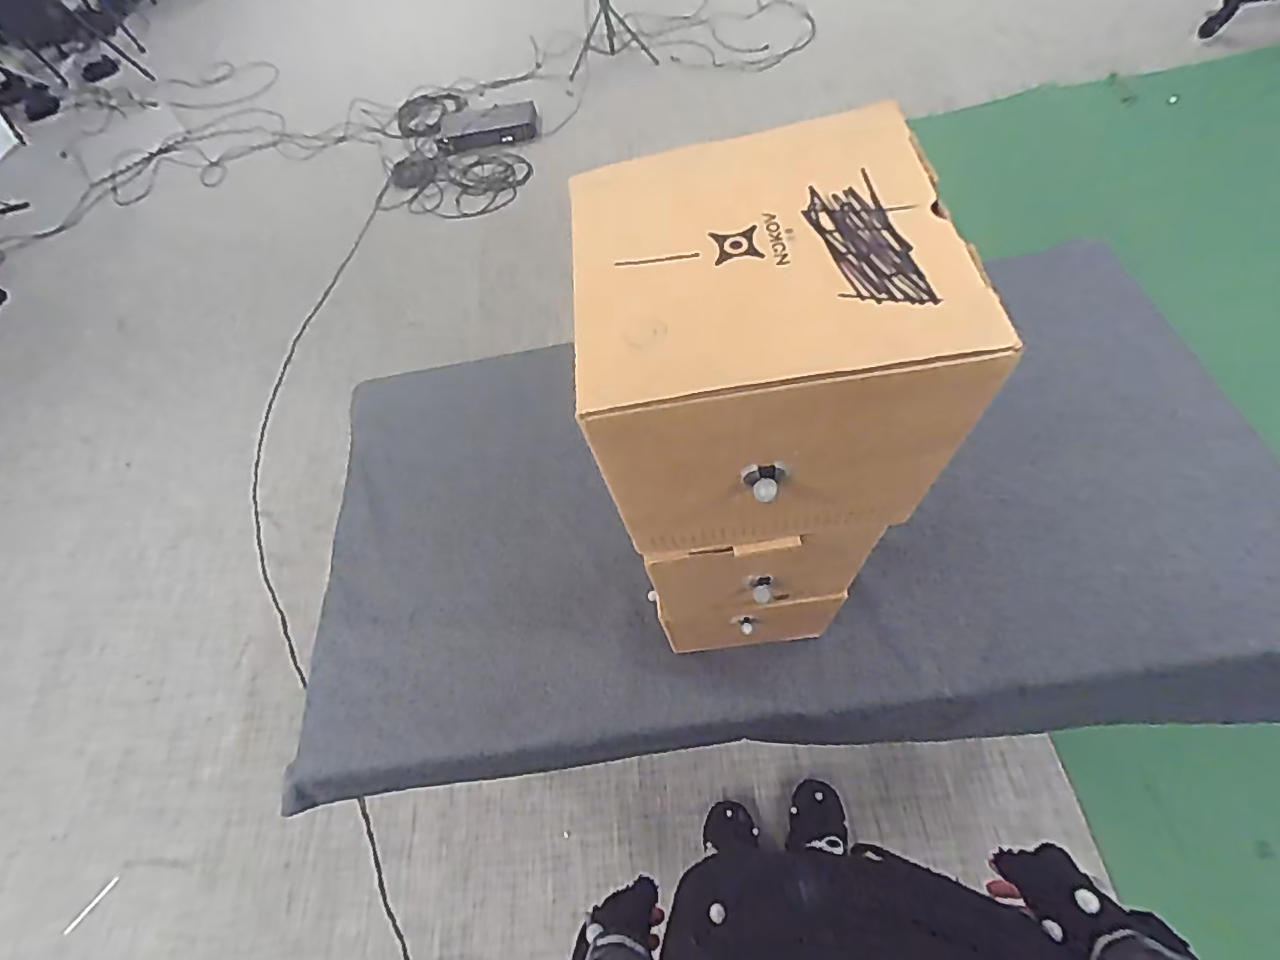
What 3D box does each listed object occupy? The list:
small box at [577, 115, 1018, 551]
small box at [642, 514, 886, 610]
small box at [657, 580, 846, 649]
[{"bbox_3d":[0.068,-0.069,0.321,0.179,0.176,0.168,-8,61,6],"label":"small box"},{"bbox_3d":[0.086,0.005,0.468,0.168,0.176,0.179,-11,62,4],"label":"small box"},{"bbox_3d":[0.109,0.085,0.608,0.179,0.176,0.168,-8,62,4],"label":"small box"}]
